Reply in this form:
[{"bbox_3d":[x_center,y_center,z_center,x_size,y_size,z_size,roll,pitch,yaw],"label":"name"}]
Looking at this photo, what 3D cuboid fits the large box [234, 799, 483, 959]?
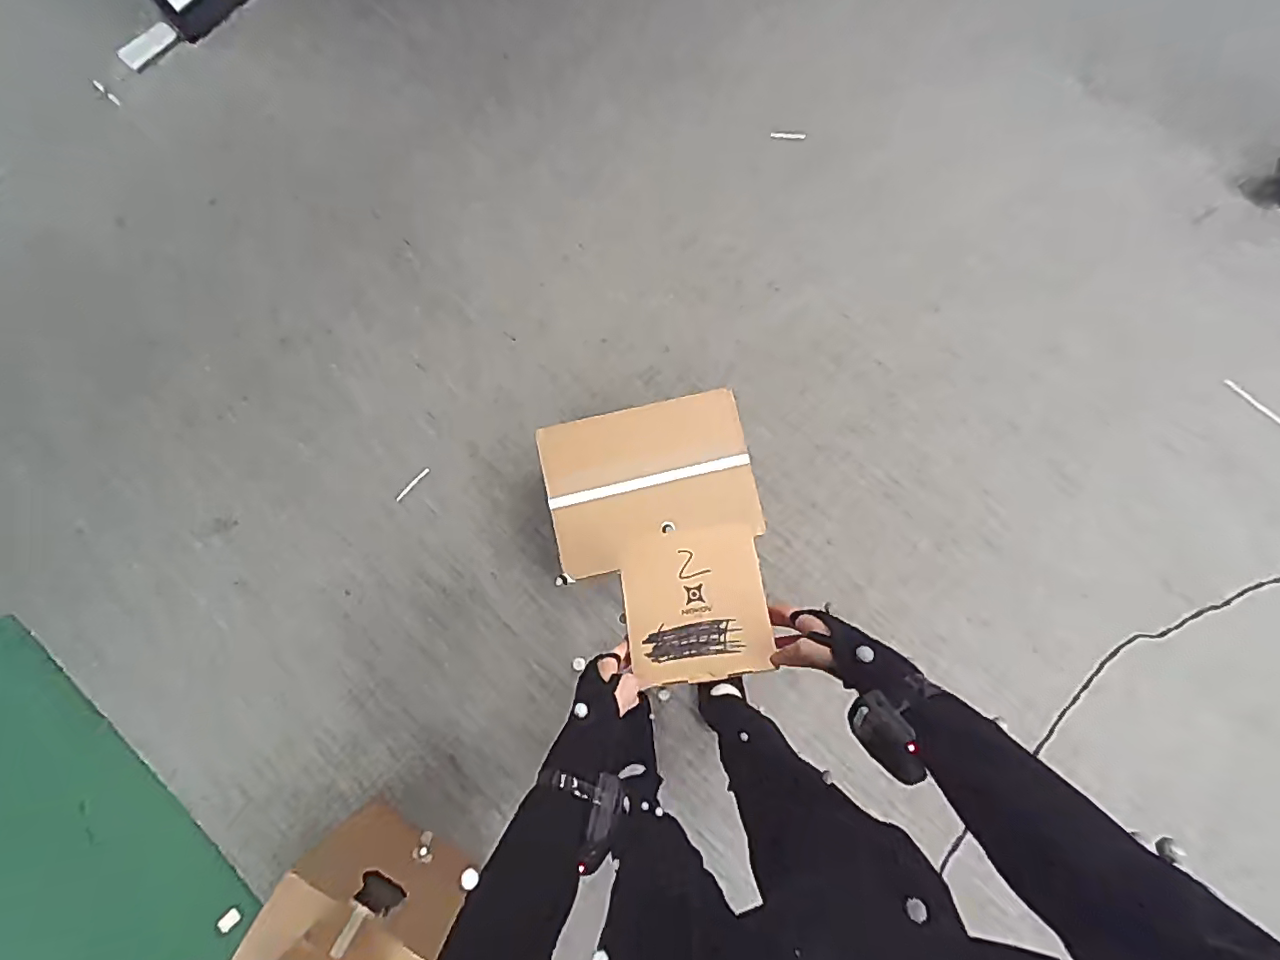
[{"bbox_3d":[-0.573,0.943,1.054,0.320,0.320,0.408,29,82,6],"label":"large box"}]
